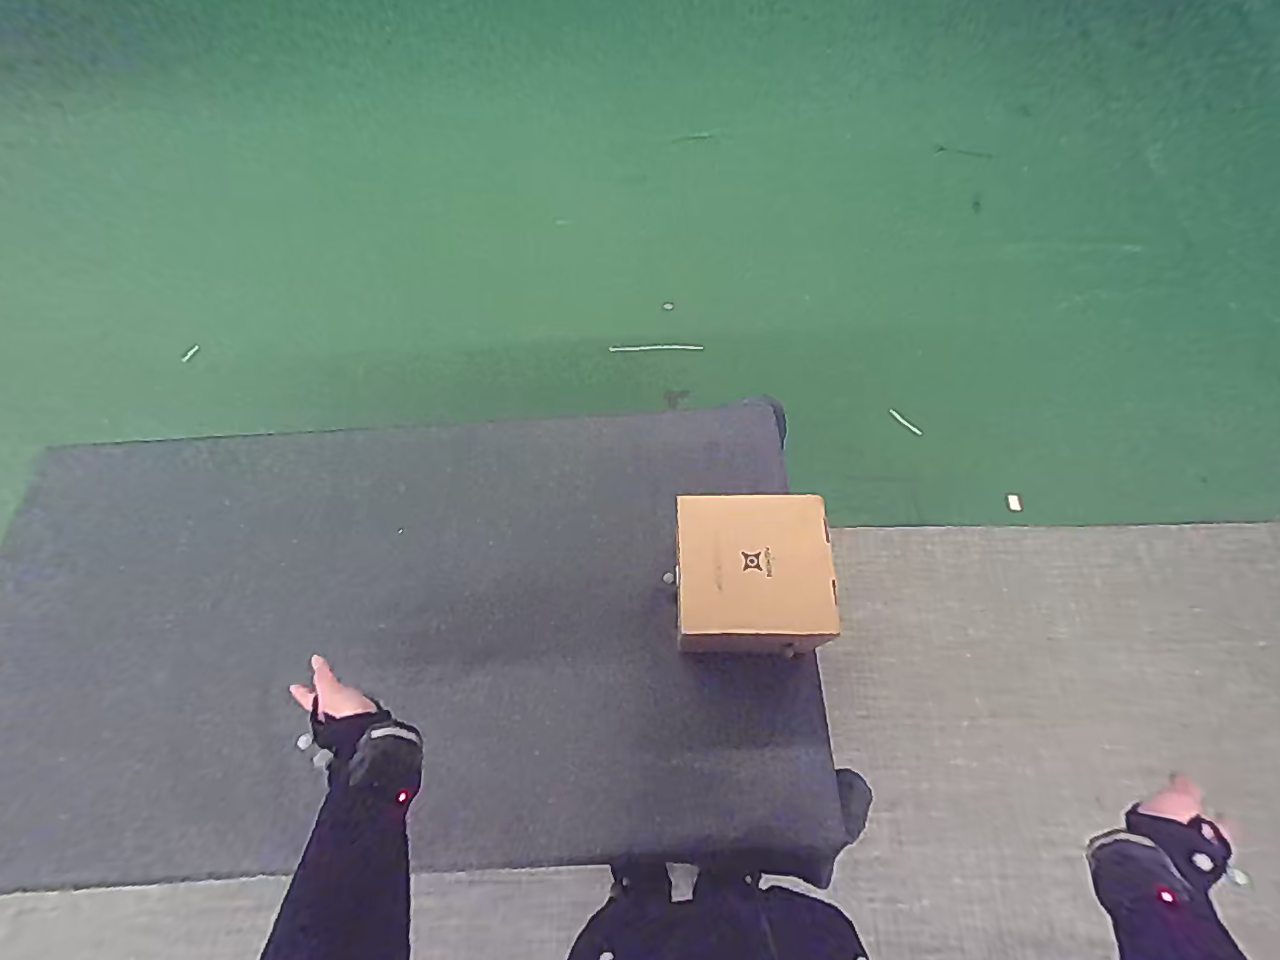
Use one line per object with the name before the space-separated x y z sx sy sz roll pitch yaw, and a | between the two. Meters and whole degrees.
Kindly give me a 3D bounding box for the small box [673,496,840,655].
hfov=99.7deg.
small box | 0.132 0.127 0.686 0.179 0.176 0.168 -2 65 3
